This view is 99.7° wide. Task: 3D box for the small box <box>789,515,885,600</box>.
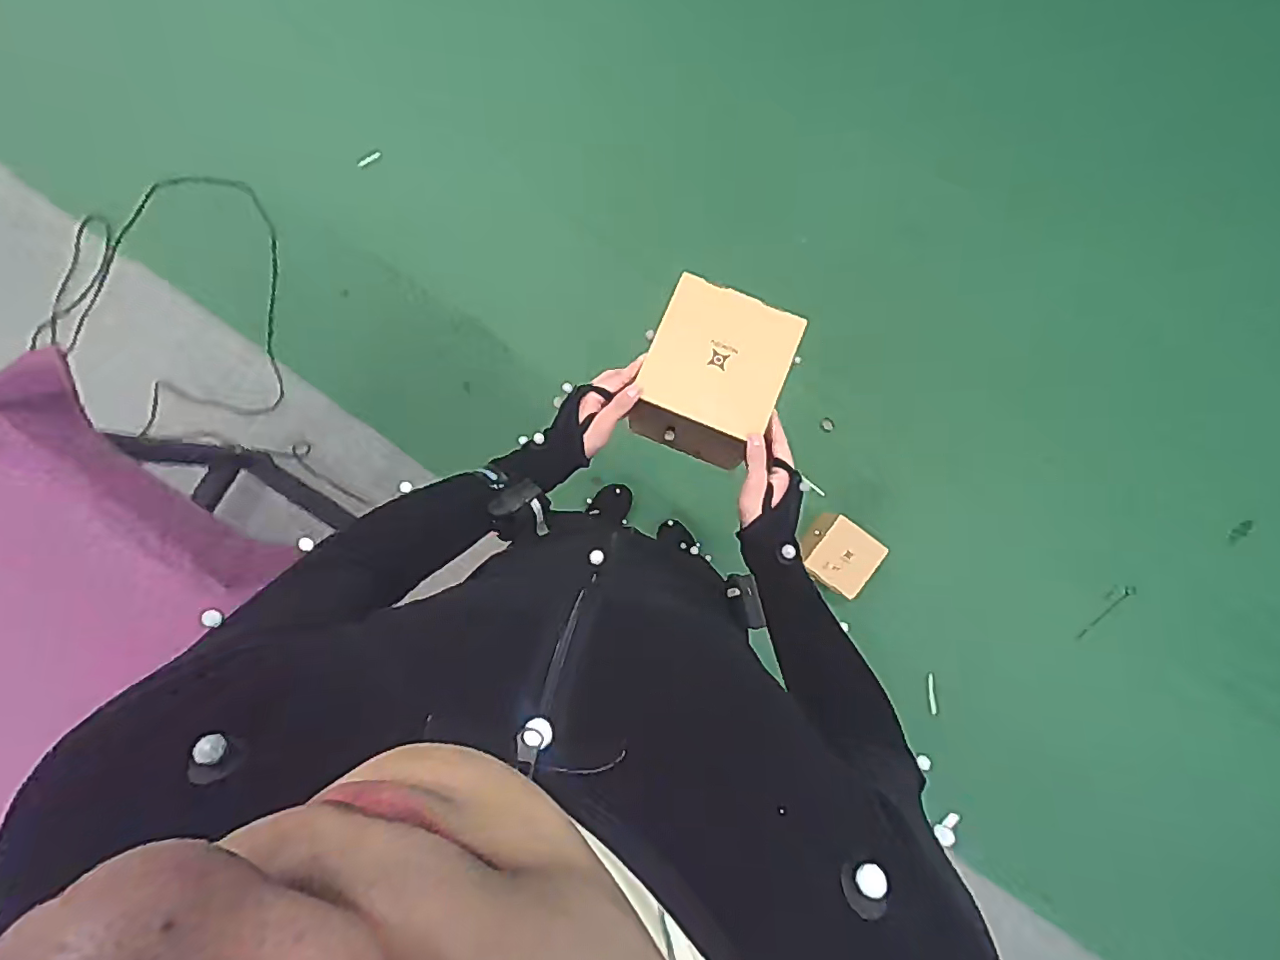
[{"bbox_3d":[0.553,0.212,1.550,0.168,0.176,0.179,37,89,2],"label":"small box"}]
